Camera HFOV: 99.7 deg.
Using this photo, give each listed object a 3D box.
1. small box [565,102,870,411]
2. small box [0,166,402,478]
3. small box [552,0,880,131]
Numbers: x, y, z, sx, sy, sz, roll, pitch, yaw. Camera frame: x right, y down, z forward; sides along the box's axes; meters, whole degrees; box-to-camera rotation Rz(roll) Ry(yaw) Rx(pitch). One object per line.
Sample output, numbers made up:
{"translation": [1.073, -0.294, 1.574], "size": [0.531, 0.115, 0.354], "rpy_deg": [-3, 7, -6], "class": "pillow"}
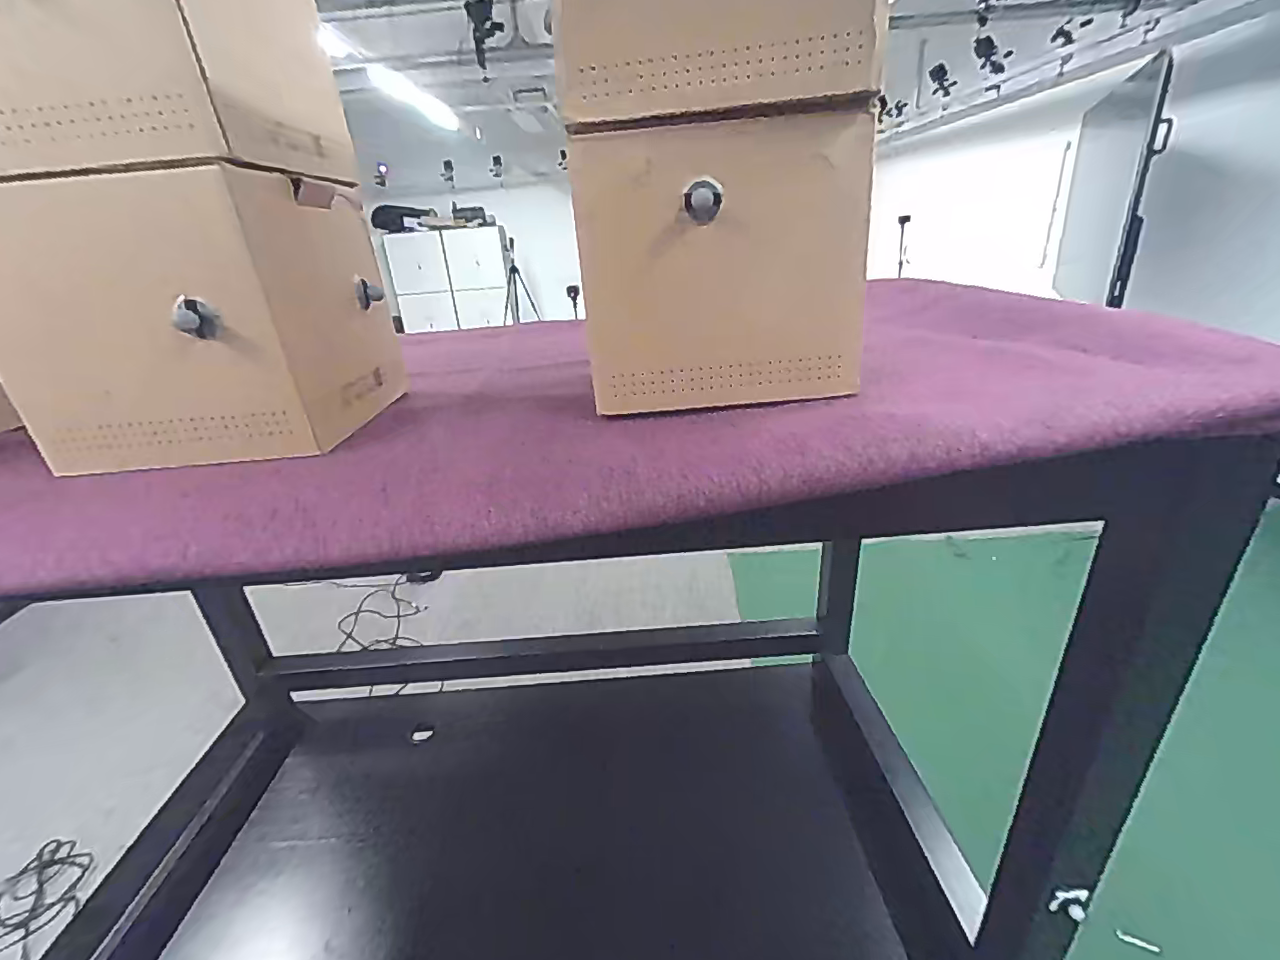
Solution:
{"translation": [0.051, -0.153, 0.403], "size": [0.179, 0.176, 0.168], "rpy_deg": [-4, 22, 2], "class": "small box"}
{"translation": [-0.296, -0.113, 0.384], "size": [0.179, 0.176, 0.168], "rpy_deg": [-6, 24, 0], "class": "small box"}
{"translation": [0.040, -0.303, 0.336], "size": [0.179, 0.176, 0.168], "rpy_deg": [-4, 23, 5], "class": "small box"}
